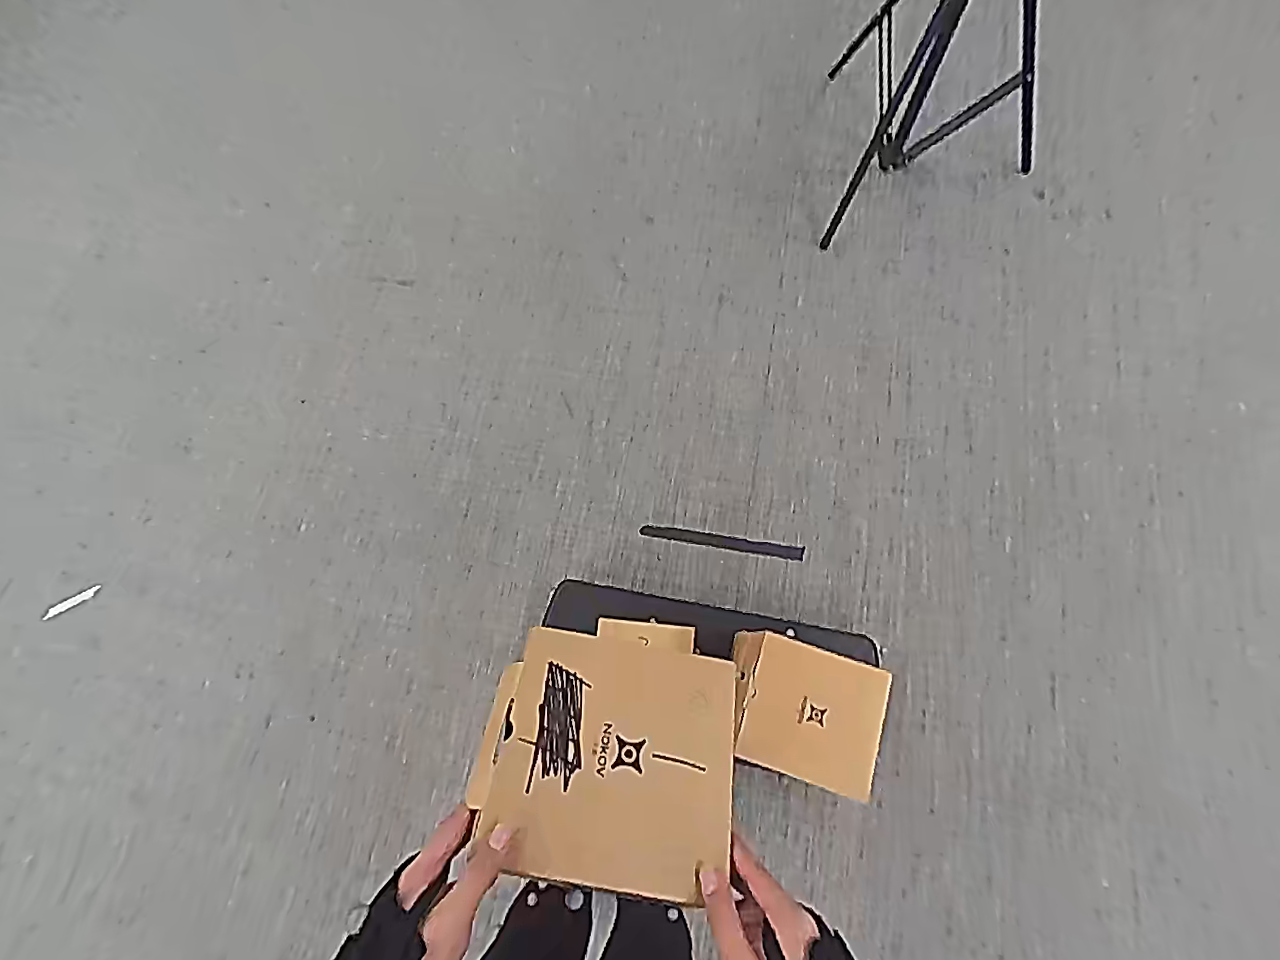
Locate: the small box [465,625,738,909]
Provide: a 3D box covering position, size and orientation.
[{"bbox_3d":[-0.025,0.245,0.456,0.179,0.176,0.168,10,52,0],"label":"small box"}]

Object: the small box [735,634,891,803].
[{"bbox_3d":[0.231,0.328,0.781,0.179,0.176,0.168,16,75,10],"label":"small box"}]
